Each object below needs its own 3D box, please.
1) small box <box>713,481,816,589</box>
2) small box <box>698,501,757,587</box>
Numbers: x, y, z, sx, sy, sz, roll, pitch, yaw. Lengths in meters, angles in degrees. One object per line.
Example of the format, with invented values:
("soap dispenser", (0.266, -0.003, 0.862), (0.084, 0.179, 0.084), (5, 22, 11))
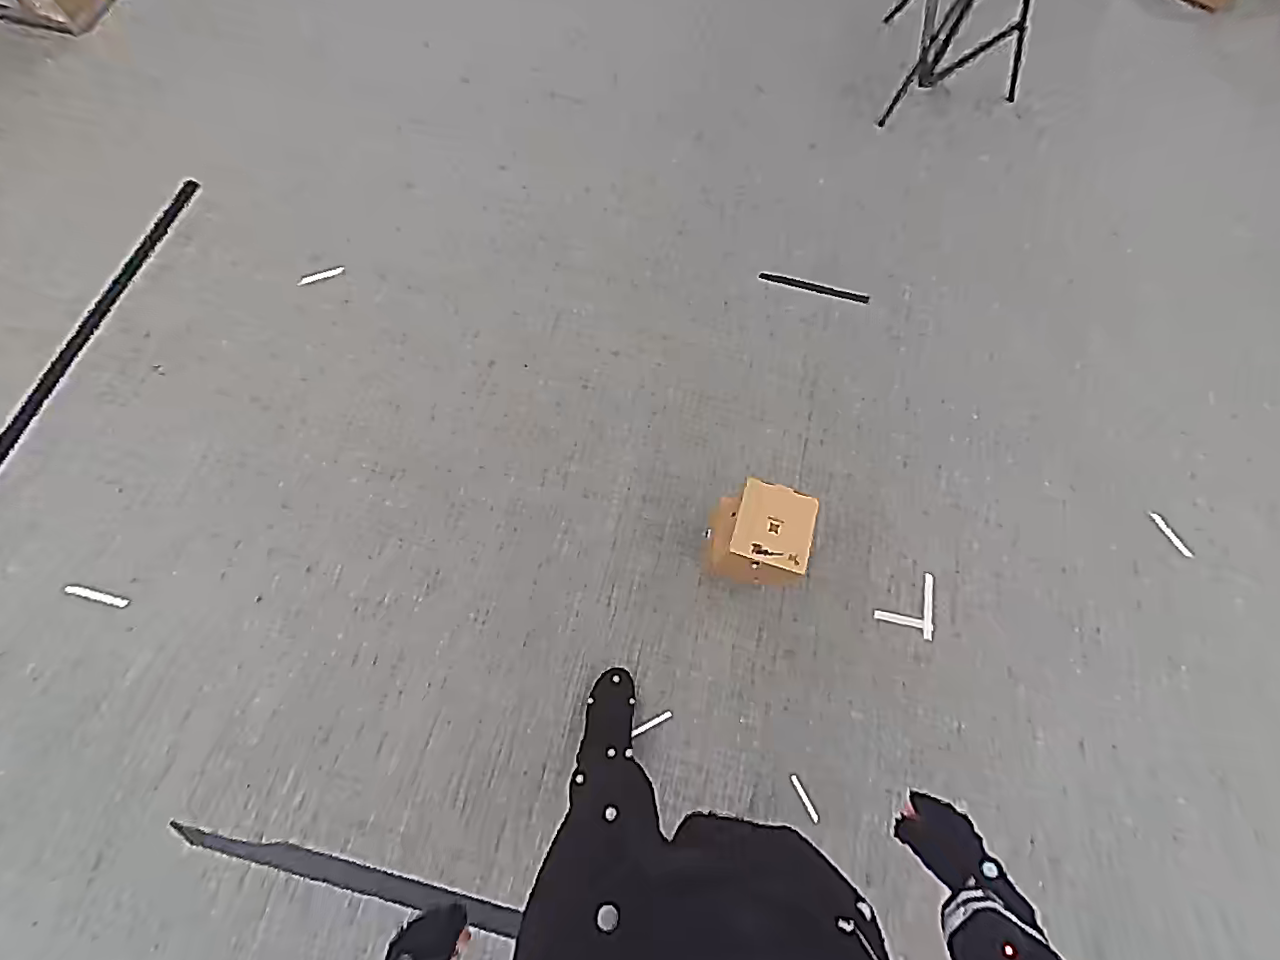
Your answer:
("small box", (0.274, 0.129, 1.220), (0.168, 0.176, 0.179), (18, 69, 2))
("small box", (0.257, 0.169, 1.379), (0.179, 0.176, 0.168), (11, 69, 0))
